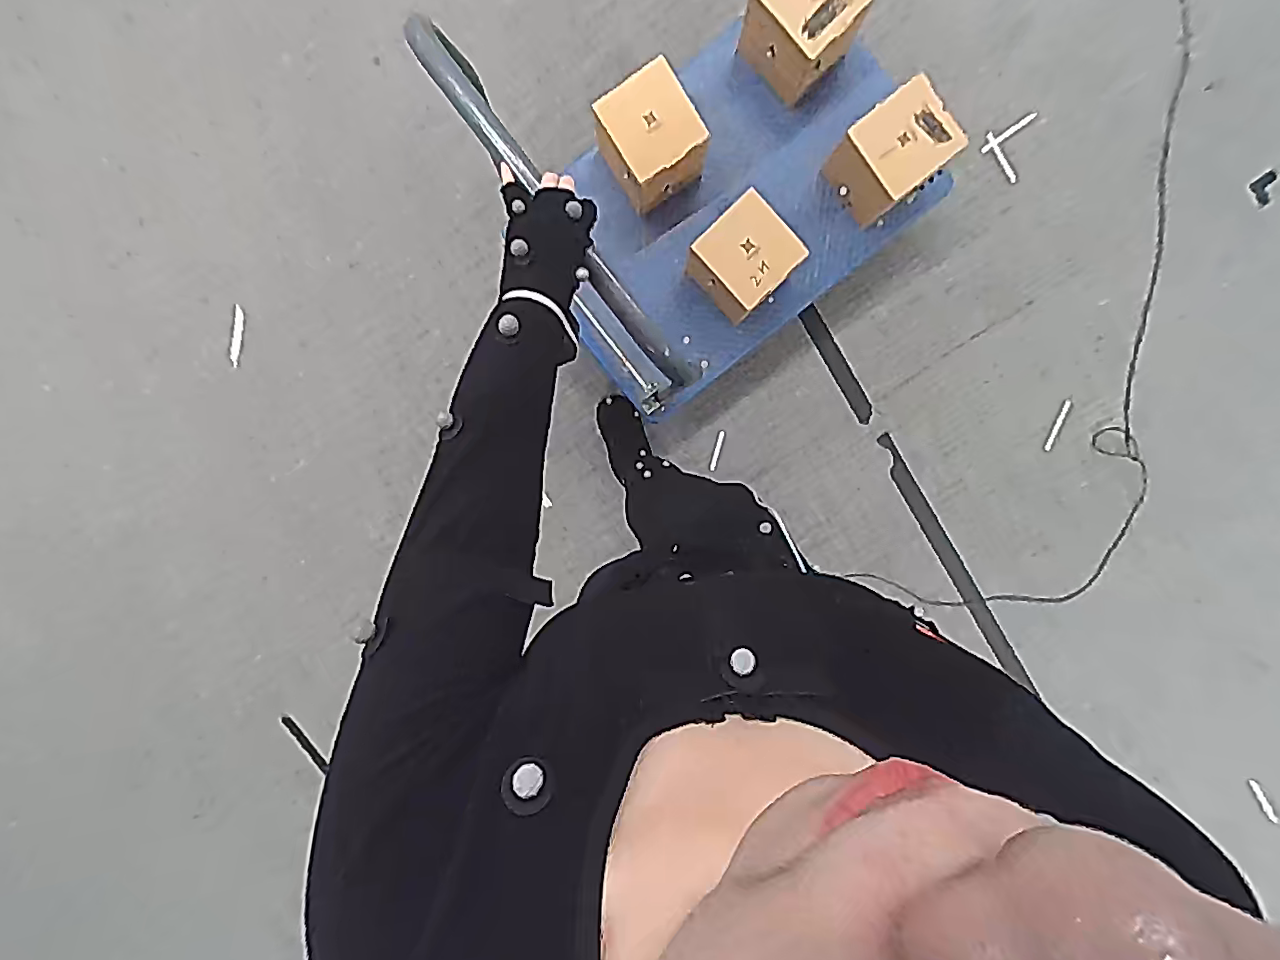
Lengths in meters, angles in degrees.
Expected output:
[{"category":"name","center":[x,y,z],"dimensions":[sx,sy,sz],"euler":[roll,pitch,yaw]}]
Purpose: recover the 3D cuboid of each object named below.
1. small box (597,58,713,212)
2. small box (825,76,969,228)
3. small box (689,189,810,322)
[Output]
[{"category":"small box","center":[0.027,-0.698,1.117],"dimensions":[0.168,0.176,0.179],"euler":[-34,97,4]},{"category":"small box","center":[0.518,-0.662,1.115],"dimensions":[0.179,0.176,0.168],"euler":[-37,95,6]},{"category":"small box","center":[0.220,-0.461,1.143],"dimensions":[0.168,0.176,0.179],"euler":[-42,95,5]}]
